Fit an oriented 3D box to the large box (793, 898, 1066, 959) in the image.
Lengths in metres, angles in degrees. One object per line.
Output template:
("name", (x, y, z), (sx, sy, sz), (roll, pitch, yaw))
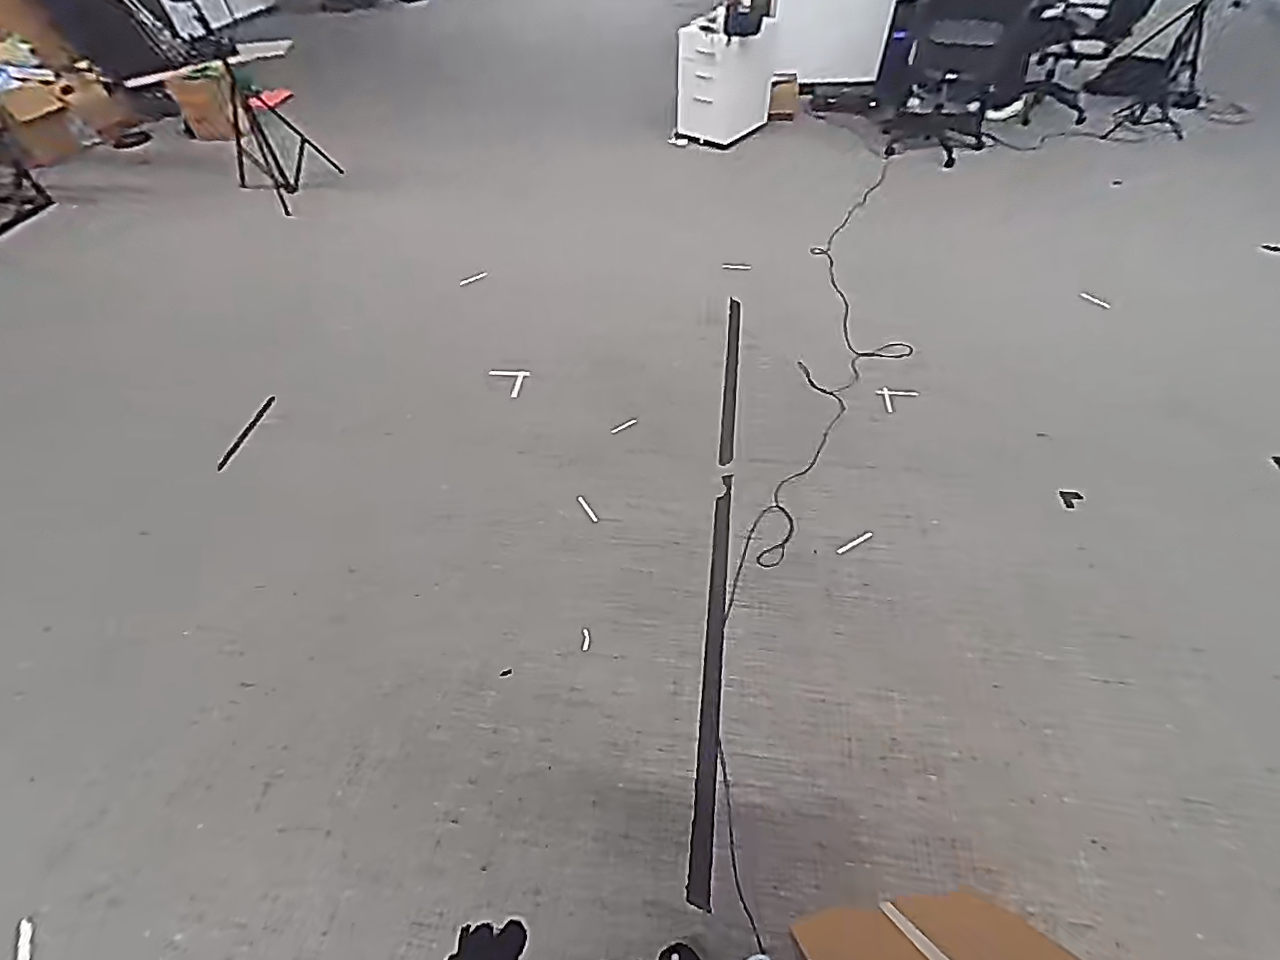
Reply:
("large box", (0.406, 0.762, 0.626), (0.320, 0.408, 0.320), (-8, 71, -1))
